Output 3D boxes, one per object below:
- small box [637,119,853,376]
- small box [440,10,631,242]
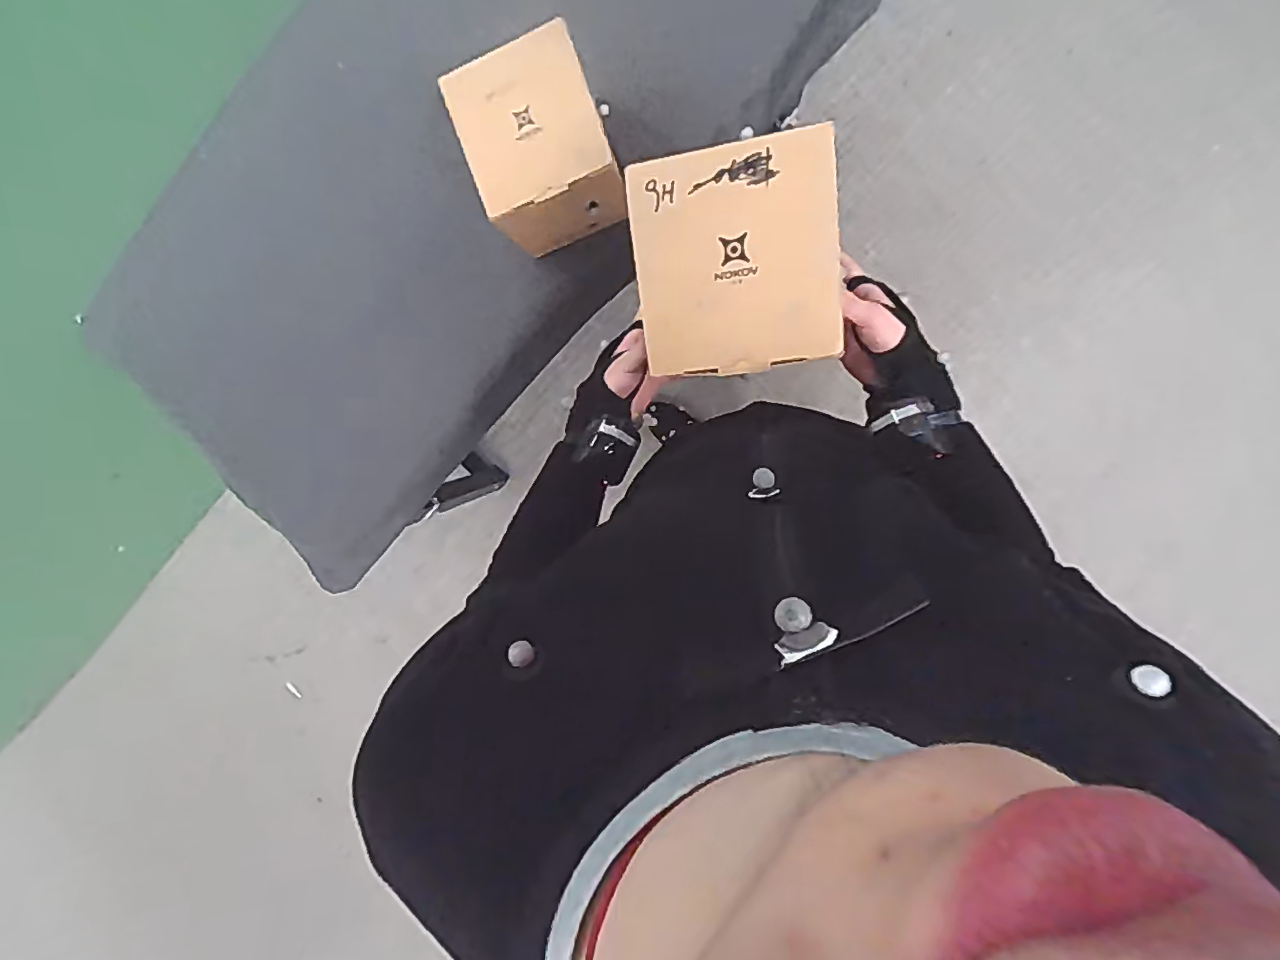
[{"bbox_3d":[0.101,-0.203,0.512,0.168,0.176,0.179,-5,106,12],"label":"small box"},{"bbox_3d":[-0.121,-0.436,0.708,0.168,0.176,0.179,-20,94,9],"label":"small box"}]
